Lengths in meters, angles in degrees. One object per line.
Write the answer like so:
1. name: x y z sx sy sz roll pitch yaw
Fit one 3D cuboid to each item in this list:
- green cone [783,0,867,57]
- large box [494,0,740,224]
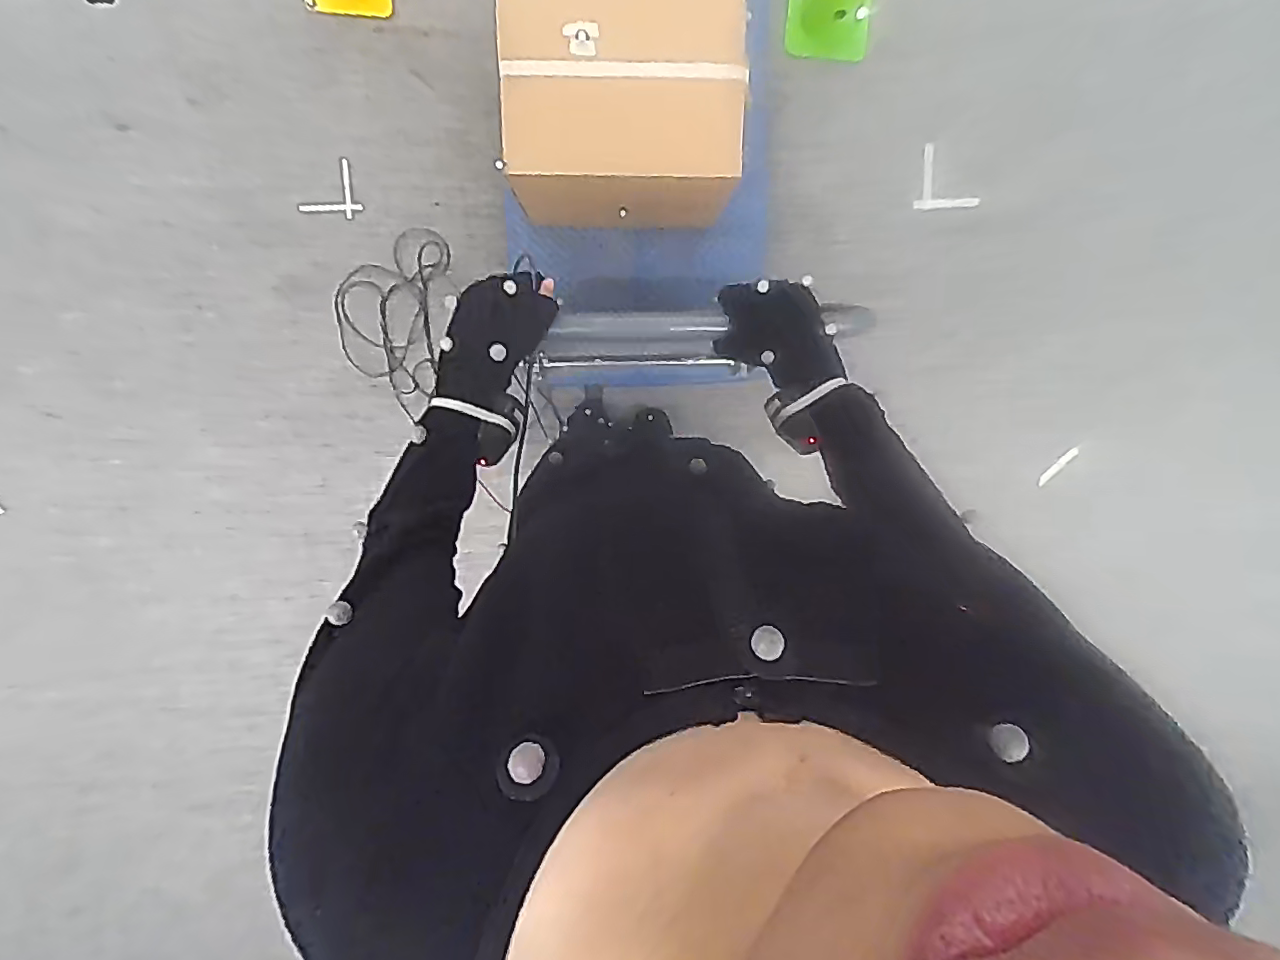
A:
1. green cone: 0.460 -1.113 1.137 0.202 0.368 0.200 3 99 -4
2. large box: -0.037 -0.694 1.038 0.408 0.320 0.320 -1 100 -2
